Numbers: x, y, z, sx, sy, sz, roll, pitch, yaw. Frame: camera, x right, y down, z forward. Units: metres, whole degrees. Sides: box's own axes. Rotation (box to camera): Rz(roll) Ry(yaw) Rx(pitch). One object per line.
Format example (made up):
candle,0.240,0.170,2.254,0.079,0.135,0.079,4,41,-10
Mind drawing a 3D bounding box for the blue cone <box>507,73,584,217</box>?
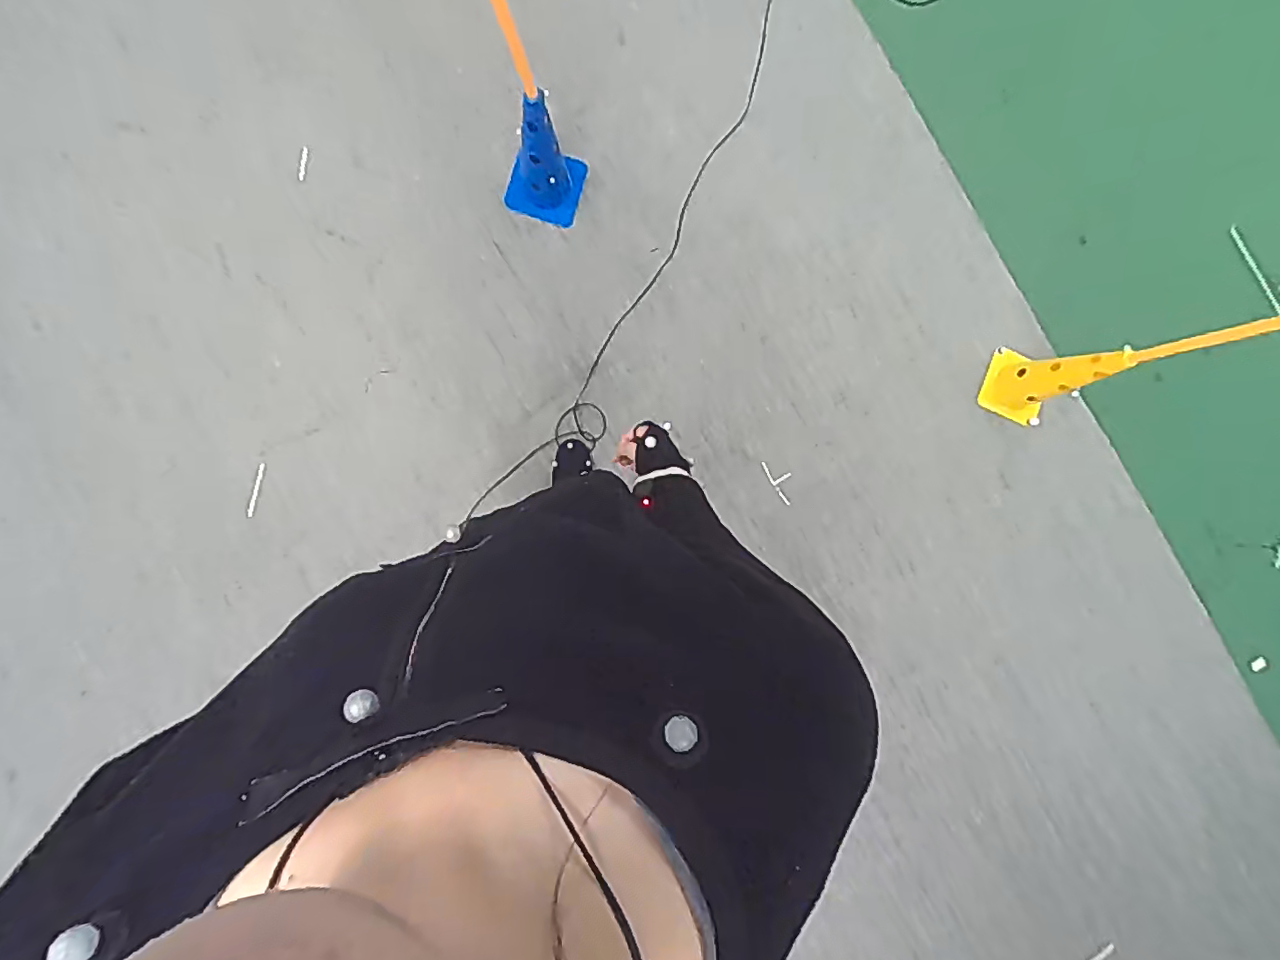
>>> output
blue cone,-0.249,-0.834,1.332,0.193,0.380,0.192,15,88,-4
